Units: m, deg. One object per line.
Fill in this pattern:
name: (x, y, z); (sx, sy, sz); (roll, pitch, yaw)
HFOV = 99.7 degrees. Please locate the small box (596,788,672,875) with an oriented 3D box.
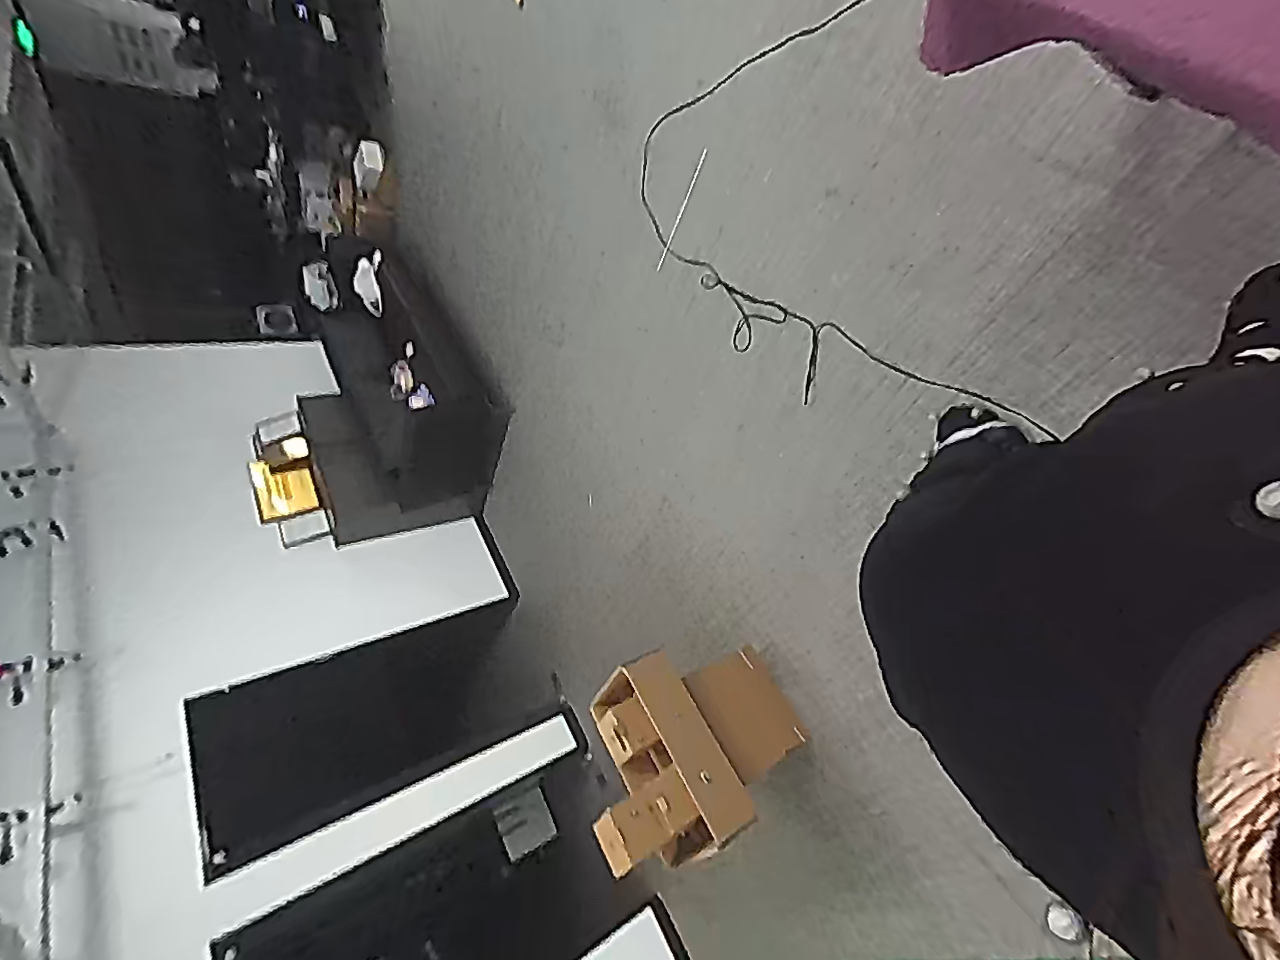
small box: (-0.017, 1.148, 1.775); (0.168, 0.176, 0.179); (55, 139, 31)
